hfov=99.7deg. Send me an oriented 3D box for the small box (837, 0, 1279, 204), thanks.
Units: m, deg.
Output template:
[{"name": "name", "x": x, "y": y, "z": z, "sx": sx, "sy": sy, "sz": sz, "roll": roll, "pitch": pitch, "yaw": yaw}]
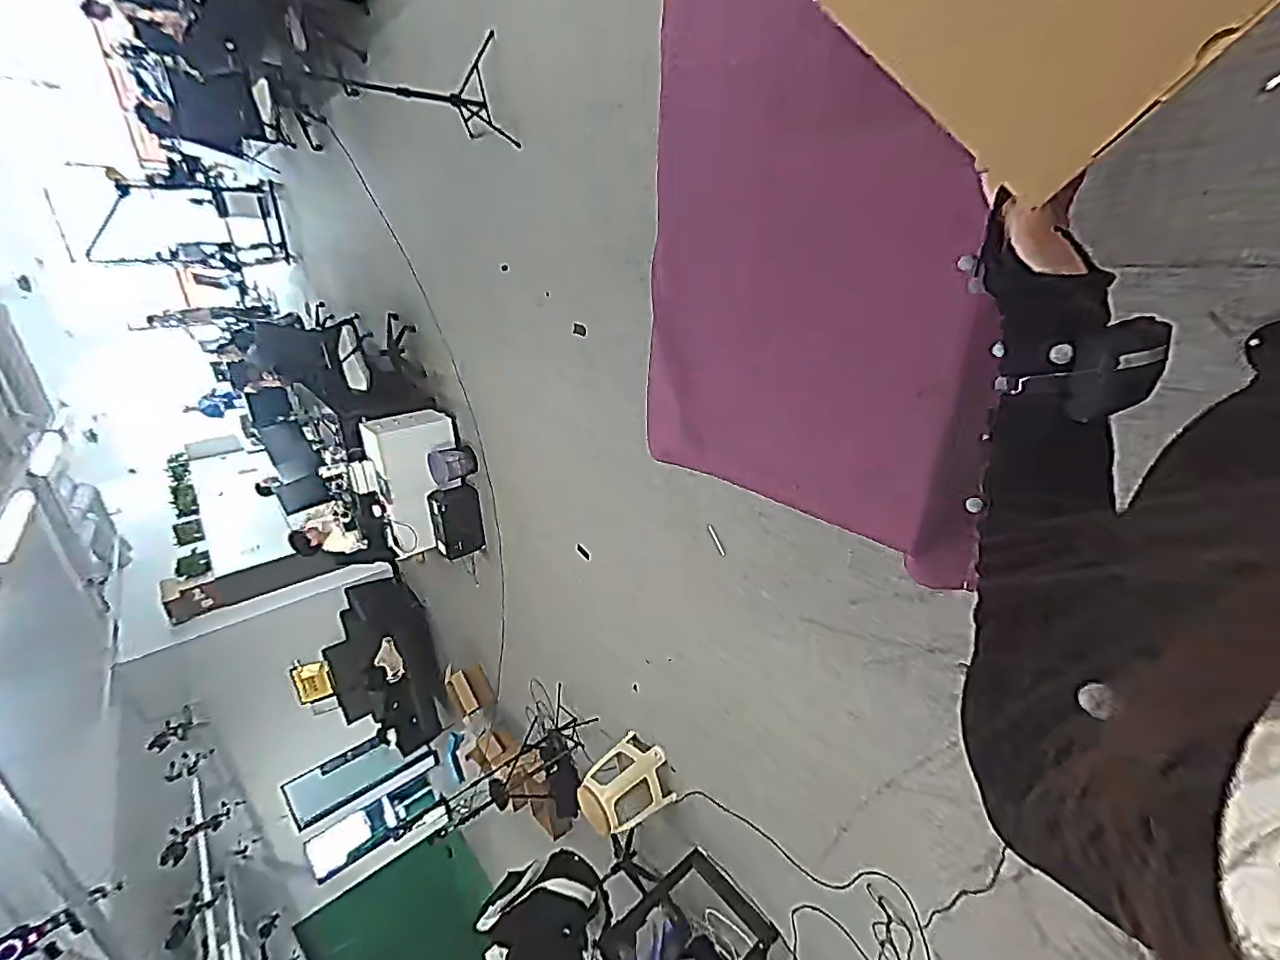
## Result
[{"name": "small box", "x": 0.242, "y": -0.287, "z": 0.285, "sx": 0.179, "sy": 0.176, "sz": 0.168, "roll": 49, "pitch": 140, "yaw": 3}]
